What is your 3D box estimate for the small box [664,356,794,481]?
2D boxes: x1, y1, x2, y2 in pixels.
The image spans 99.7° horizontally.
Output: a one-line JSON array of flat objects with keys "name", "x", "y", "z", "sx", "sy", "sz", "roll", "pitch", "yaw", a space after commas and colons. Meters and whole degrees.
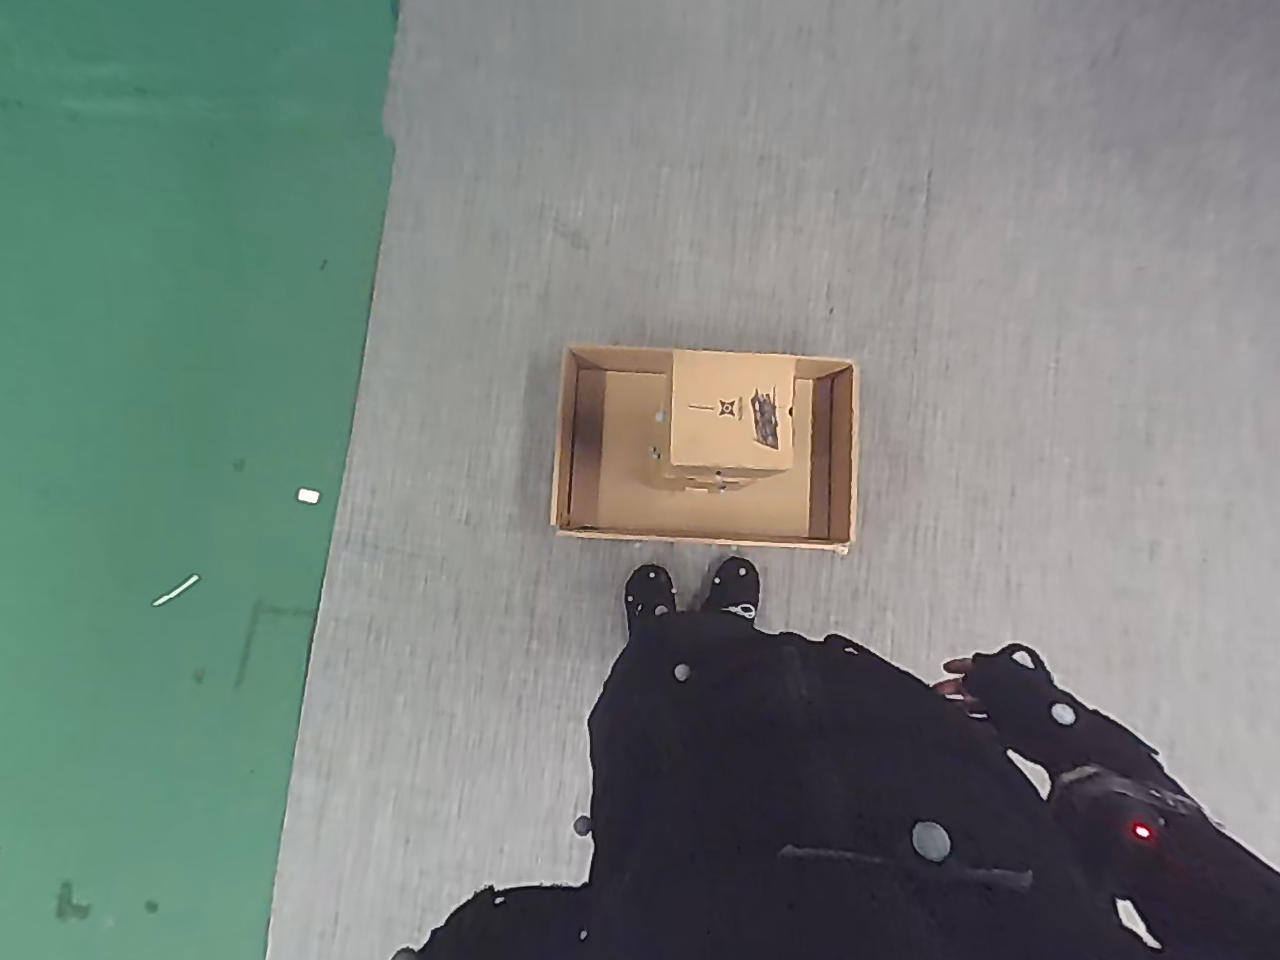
[{"name": "small box", "x": 0.131, "y": -0.088, "z": 0.848, "sx": 0.179, "sy": 0.176, "sz": 0.168, "roll": 2, "pitch": 86, "yaw": 1}]

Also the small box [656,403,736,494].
[{"name": "small box", "x": 0.122, "y": -0.062, "z": 1.173, "sx": 0.168, "sy": 0.176, "sz": 0.179, "roll": 3, "pitch": 86, "yaw": 1}]

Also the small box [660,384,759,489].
[{"name": "small box", "x": 0.123, "y": -0.072, "z": 0.995, "sx": 0.168, "sy": 0.176, "sz": 0.179, "roll": 1, "pitch": 86, "yaw": 0}]
